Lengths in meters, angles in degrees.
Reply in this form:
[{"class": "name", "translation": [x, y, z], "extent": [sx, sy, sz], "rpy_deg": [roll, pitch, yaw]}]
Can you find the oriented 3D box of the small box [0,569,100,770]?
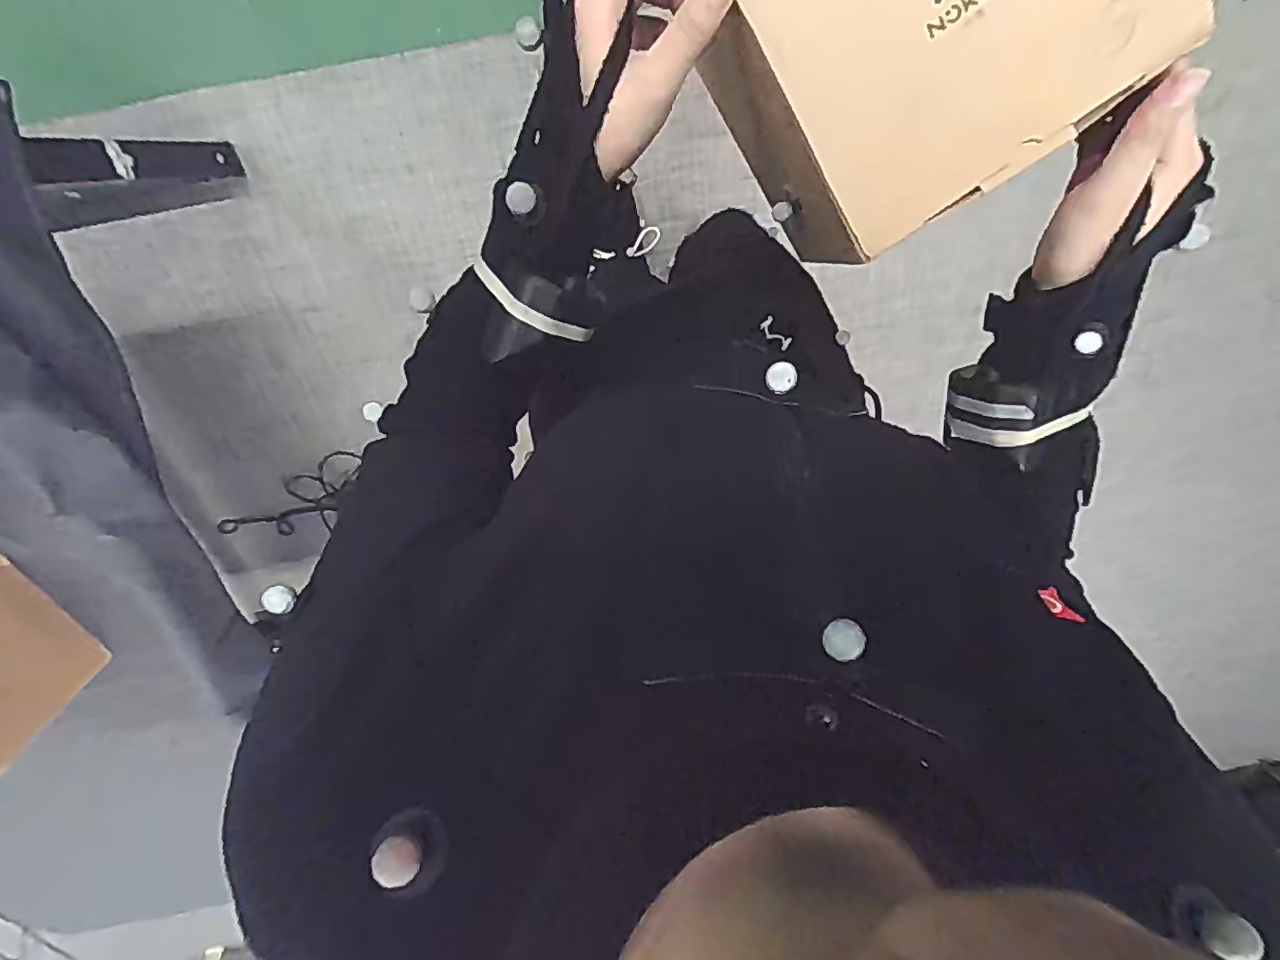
[{"class": "small box", "translation": [-0.748, 0.205, 0.559], "extent": [0.168, 0.176, 0.179], "rpy_deg": [-13, 123, 1]}]
